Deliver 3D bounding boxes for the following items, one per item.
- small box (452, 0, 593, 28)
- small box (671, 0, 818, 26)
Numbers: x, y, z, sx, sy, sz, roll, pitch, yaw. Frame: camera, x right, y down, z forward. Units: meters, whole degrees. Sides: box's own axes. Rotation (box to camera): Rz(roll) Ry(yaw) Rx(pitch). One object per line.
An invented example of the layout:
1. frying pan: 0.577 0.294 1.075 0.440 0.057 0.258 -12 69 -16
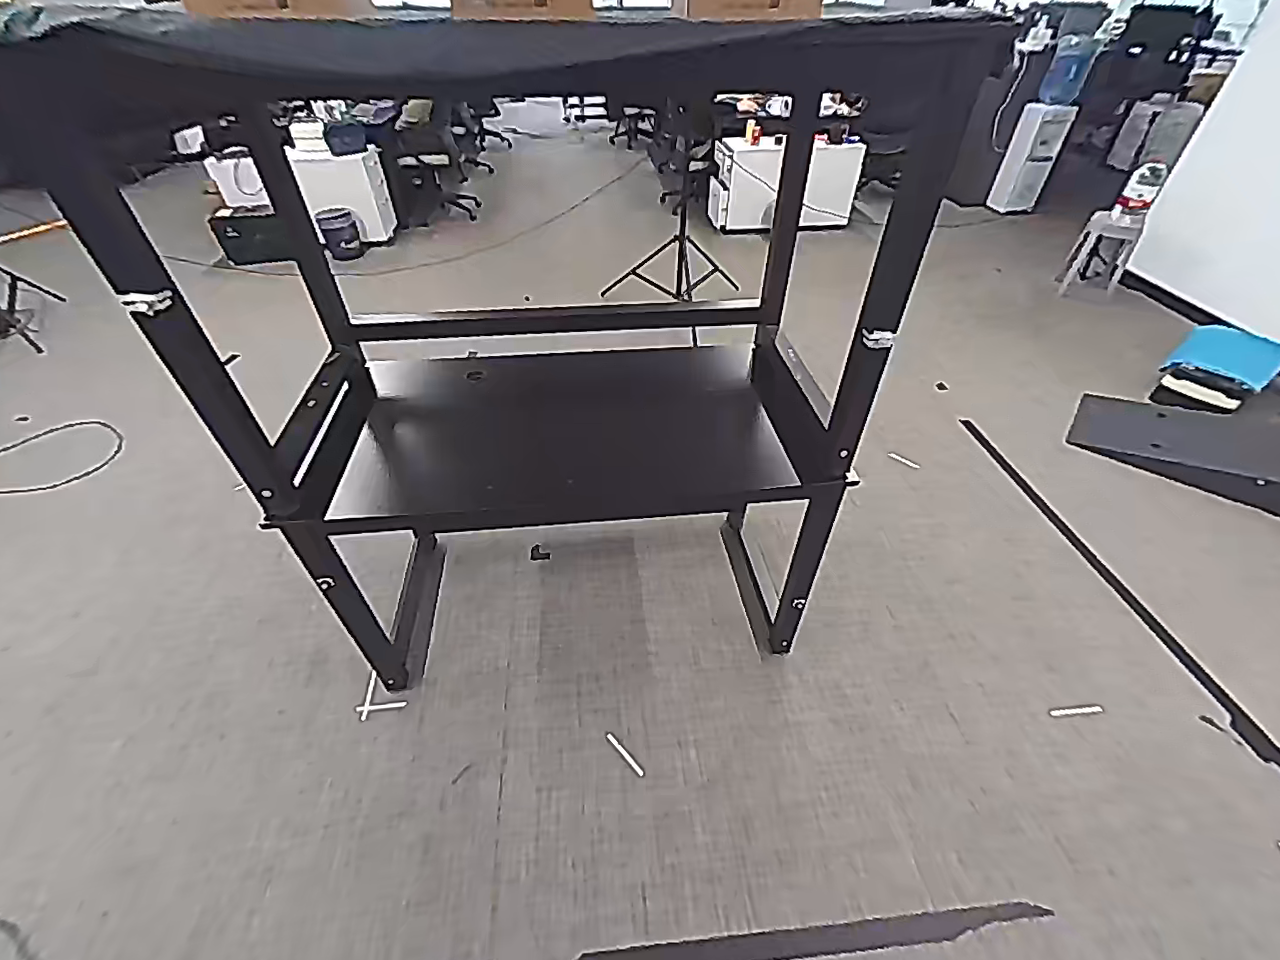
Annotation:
1. small box: -0.145 -0.652 0.644 0.168 0.176 0.179 -4 40 -5
2. small box: 0.129 -0.672 0.664 0.168 0.176 0.179 -4 42 -2
